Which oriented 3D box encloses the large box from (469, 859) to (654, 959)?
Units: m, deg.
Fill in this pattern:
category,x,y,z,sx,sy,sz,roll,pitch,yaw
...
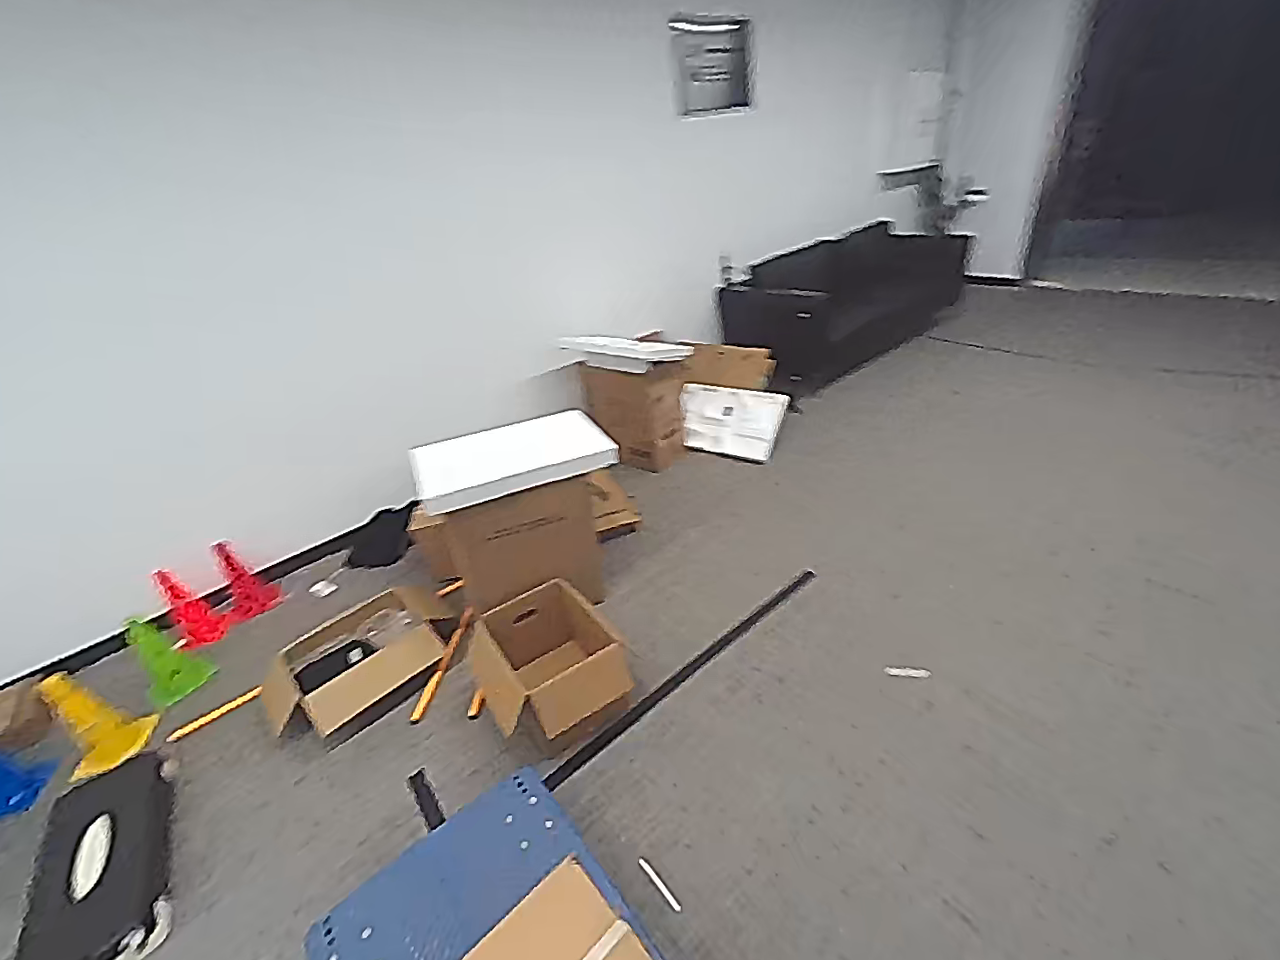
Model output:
category,x,y,z,sx,sy,sz,roll,pitch,yaw
large box,-0.150,0.952,0.859,0.408,0.320,0.320,-29,36,-34
